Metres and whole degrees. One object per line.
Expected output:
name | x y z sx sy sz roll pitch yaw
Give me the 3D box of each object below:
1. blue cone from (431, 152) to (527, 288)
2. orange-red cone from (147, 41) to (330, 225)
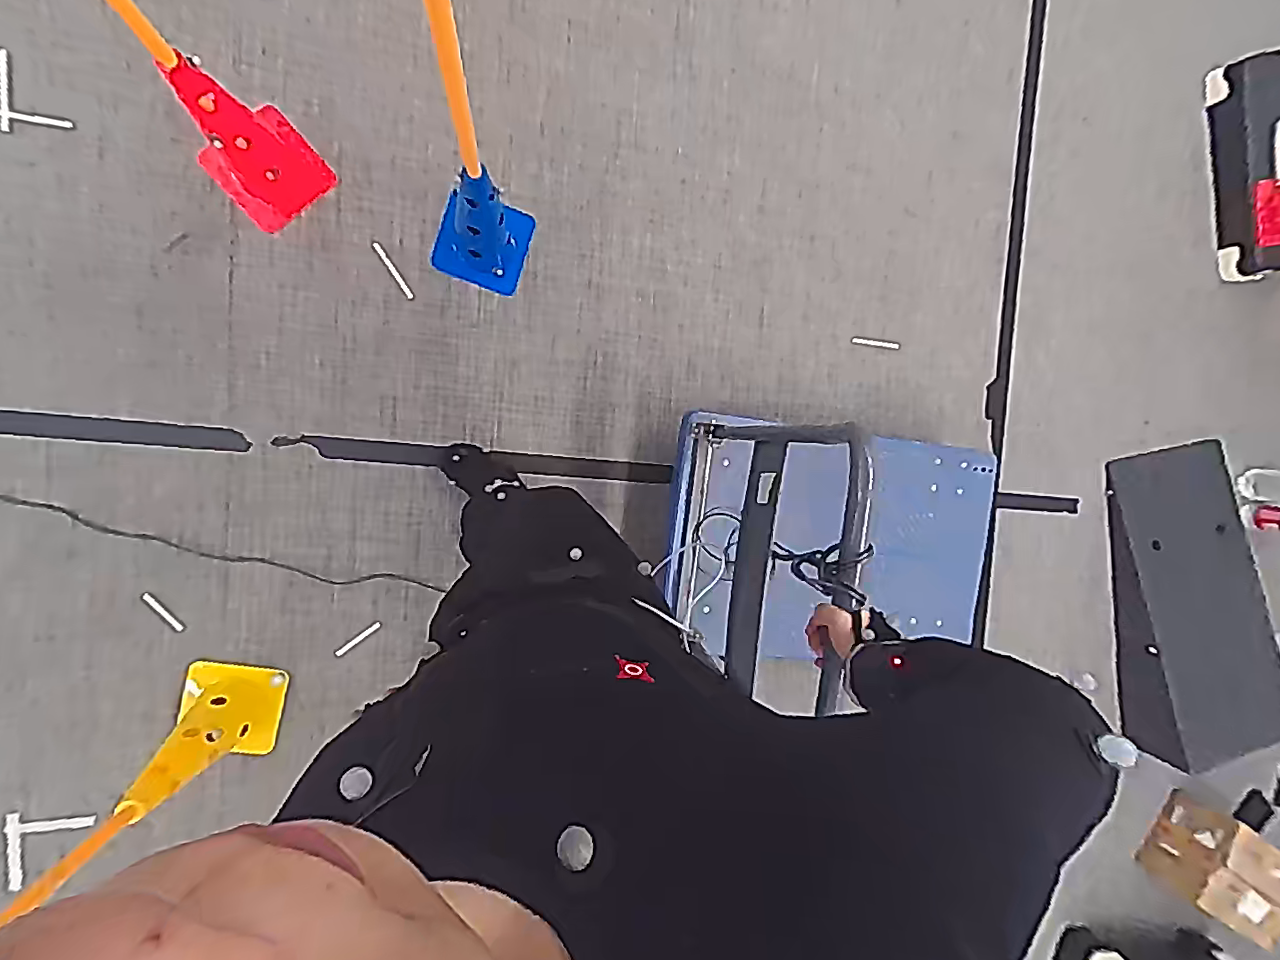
blue cone | -0.335 -0.544 1.091 0.192 0.380 0.193 19 90 -13
orange-red cone | -0.749 -0.649 0.972 0.198 0.360 0.199 -41 103 -6
